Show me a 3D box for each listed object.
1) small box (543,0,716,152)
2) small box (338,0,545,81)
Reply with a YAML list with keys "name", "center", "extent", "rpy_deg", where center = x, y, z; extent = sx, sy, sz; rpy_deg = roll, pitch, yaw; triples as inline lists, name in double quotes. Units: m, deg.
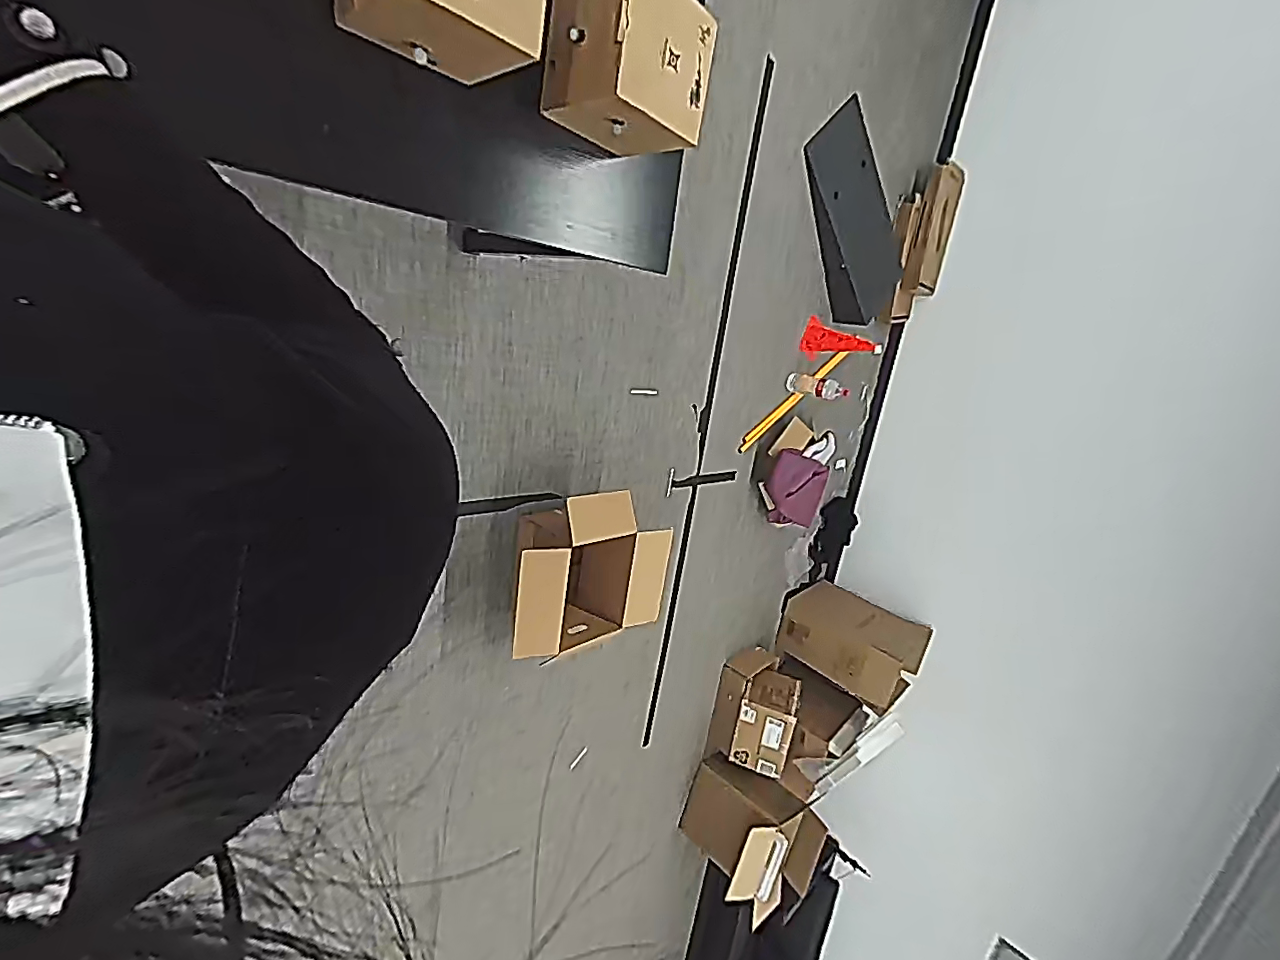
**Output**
- name: "small box"
  center: [-0.020, -0.601, 0.789]
  extent: [0.179, 0.176, 0.168]
  rpy_deg: [-4, 110, -45]
- name: "small box"
  center: [-0.216, -0.577, 0.588]
  extent: [0.168, 0.176, 0.179]
  rpy_deg: [-8, 114, -45]
